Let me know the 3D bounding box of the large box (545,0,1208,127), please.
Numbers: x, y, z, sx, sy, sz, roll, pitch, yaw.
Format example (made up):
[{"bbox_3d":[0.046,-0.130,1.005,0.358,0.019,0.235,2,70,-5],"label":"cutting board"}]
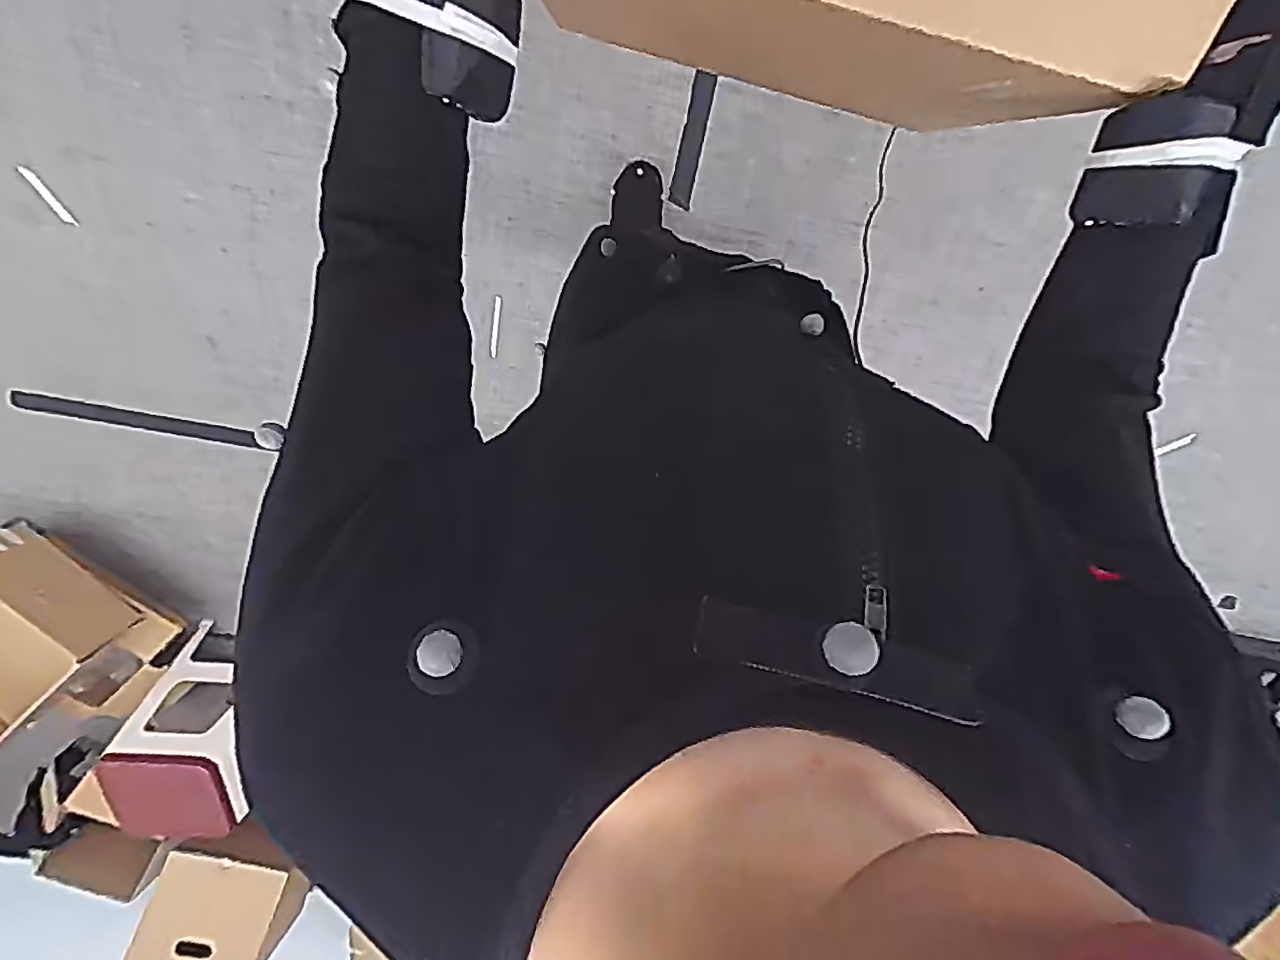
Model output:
[{"bbox_3d":[0.143,-0.466,0.358,0.408,0.320,0.320,11,121,-7],"label":"large box"}]
